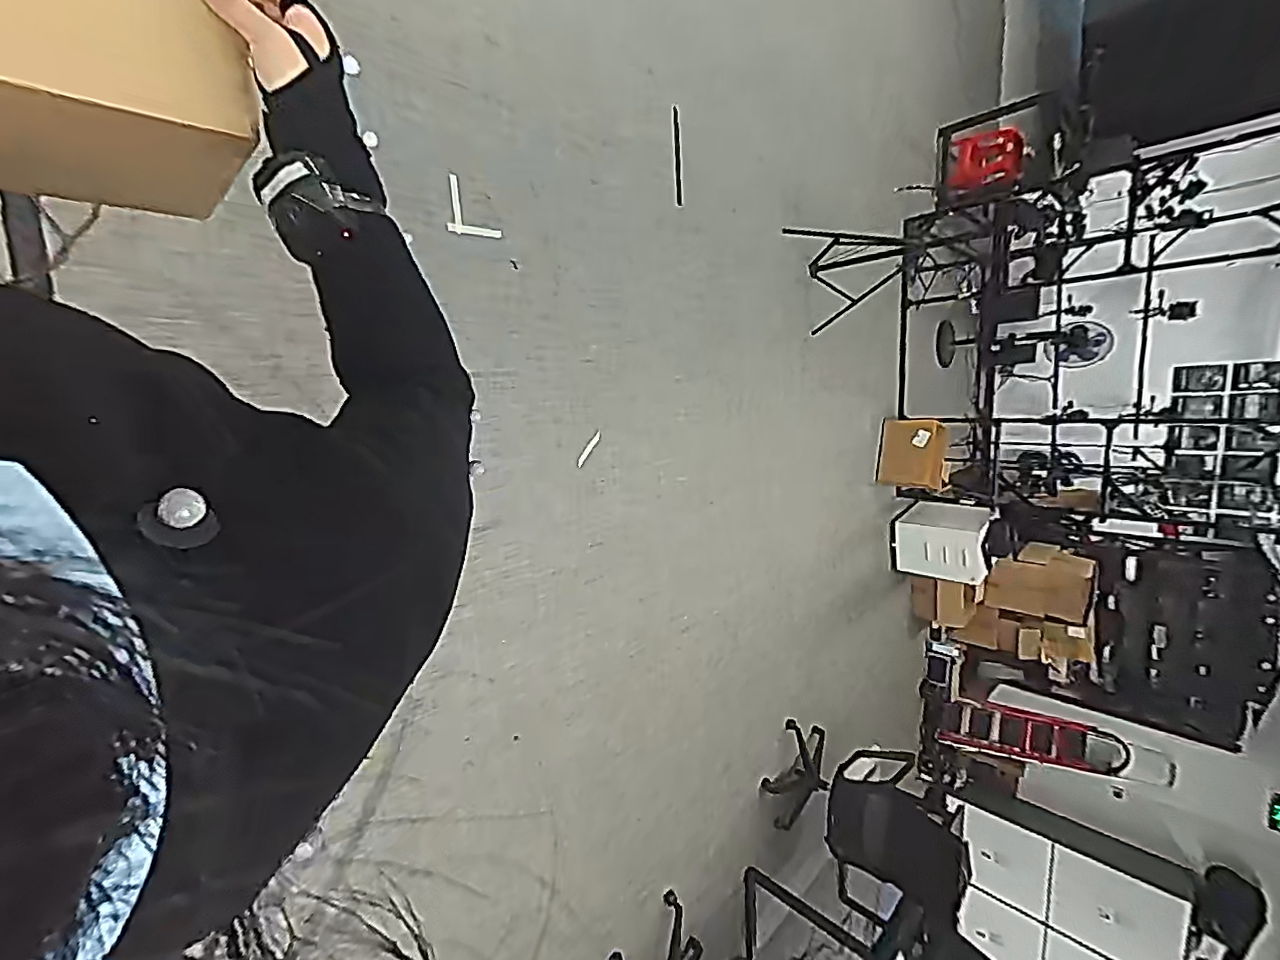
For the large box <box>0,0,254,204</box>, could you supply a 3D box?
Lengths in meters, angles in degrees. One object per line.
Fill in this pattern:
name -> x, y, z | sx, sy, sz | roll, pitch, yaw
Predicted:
large box -> -0.554, -0.417, 0.373 | 0.408, 0.320, 0.320 | -12, 105, -42
